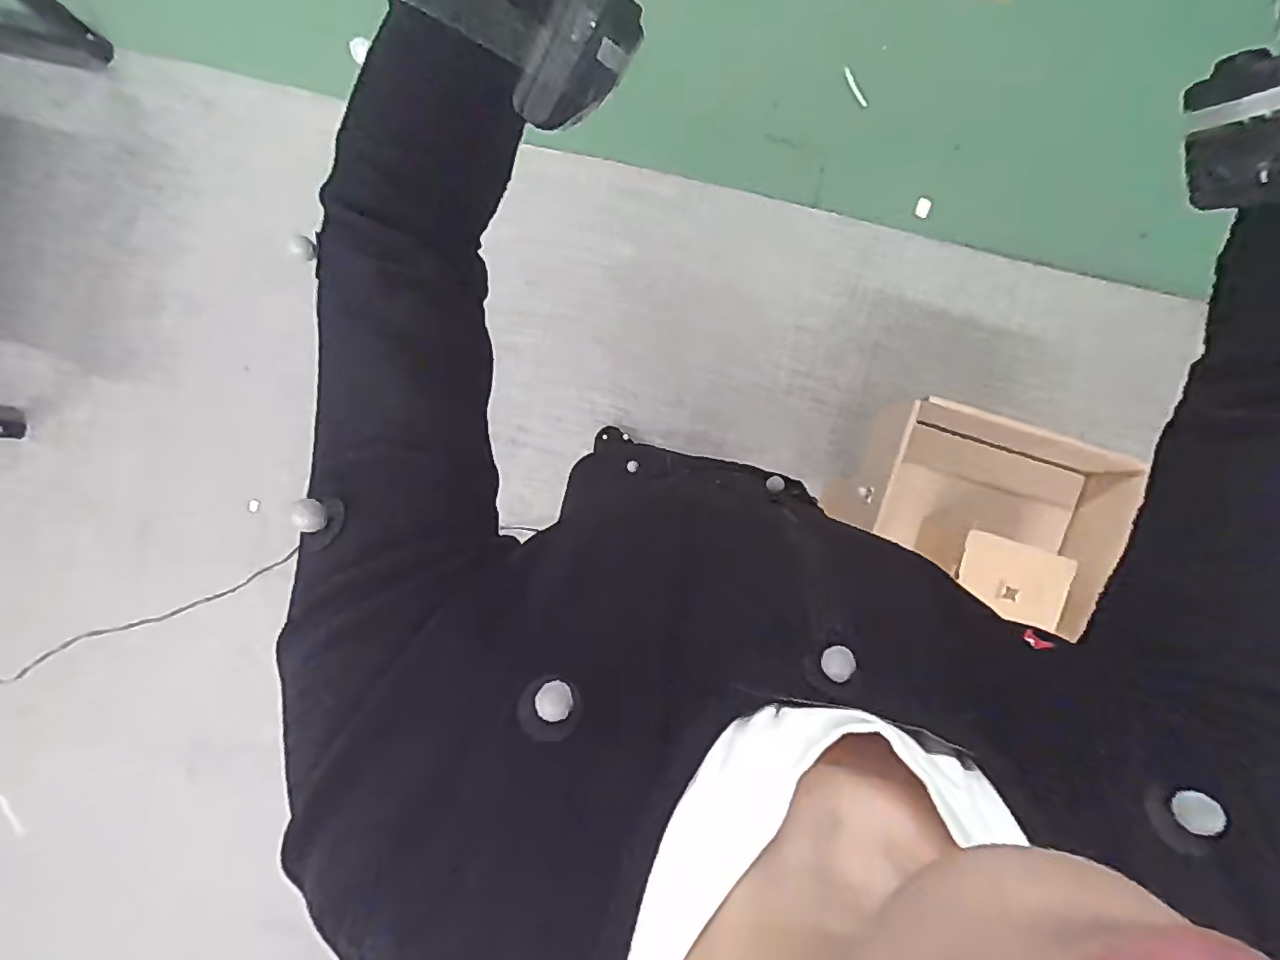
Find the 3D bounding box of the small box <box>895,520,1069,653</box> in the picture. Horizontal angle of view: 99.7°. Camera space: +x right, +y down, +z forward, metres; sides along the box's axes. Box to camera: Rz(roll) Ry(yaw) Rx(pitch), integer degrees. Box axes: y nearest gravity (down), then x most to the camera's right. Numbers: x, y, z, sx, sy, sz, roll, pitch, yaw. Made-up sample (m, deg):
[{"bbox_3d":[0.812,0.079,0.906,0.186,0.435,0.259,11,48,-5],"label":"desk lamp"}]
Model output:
[{"bbox_3d":[0.583,0.174,0.948,0.179,0.176,0.168,18,93,1],"label":"small box"}]
